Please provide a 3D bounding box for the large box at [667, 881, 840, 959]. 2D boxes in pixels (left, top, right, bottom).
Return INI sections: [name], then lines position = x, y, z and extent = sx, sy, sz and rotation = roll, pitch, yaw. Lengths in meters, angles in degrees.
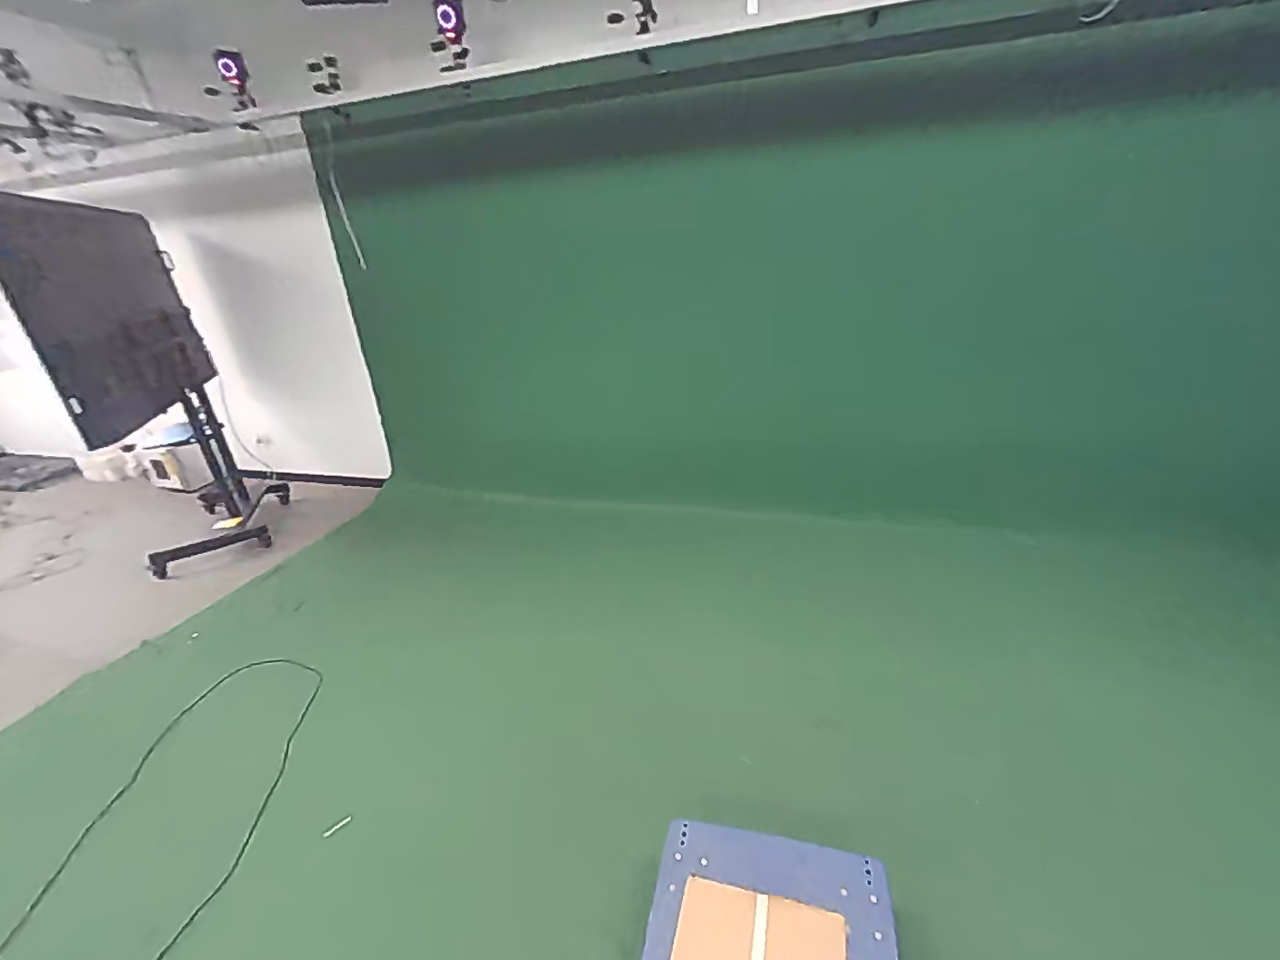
[large box]
position = 0.194, 1.061, 0.975
extent = 0.320, 0.320, 0.408
rotation = 4, 24, 17
